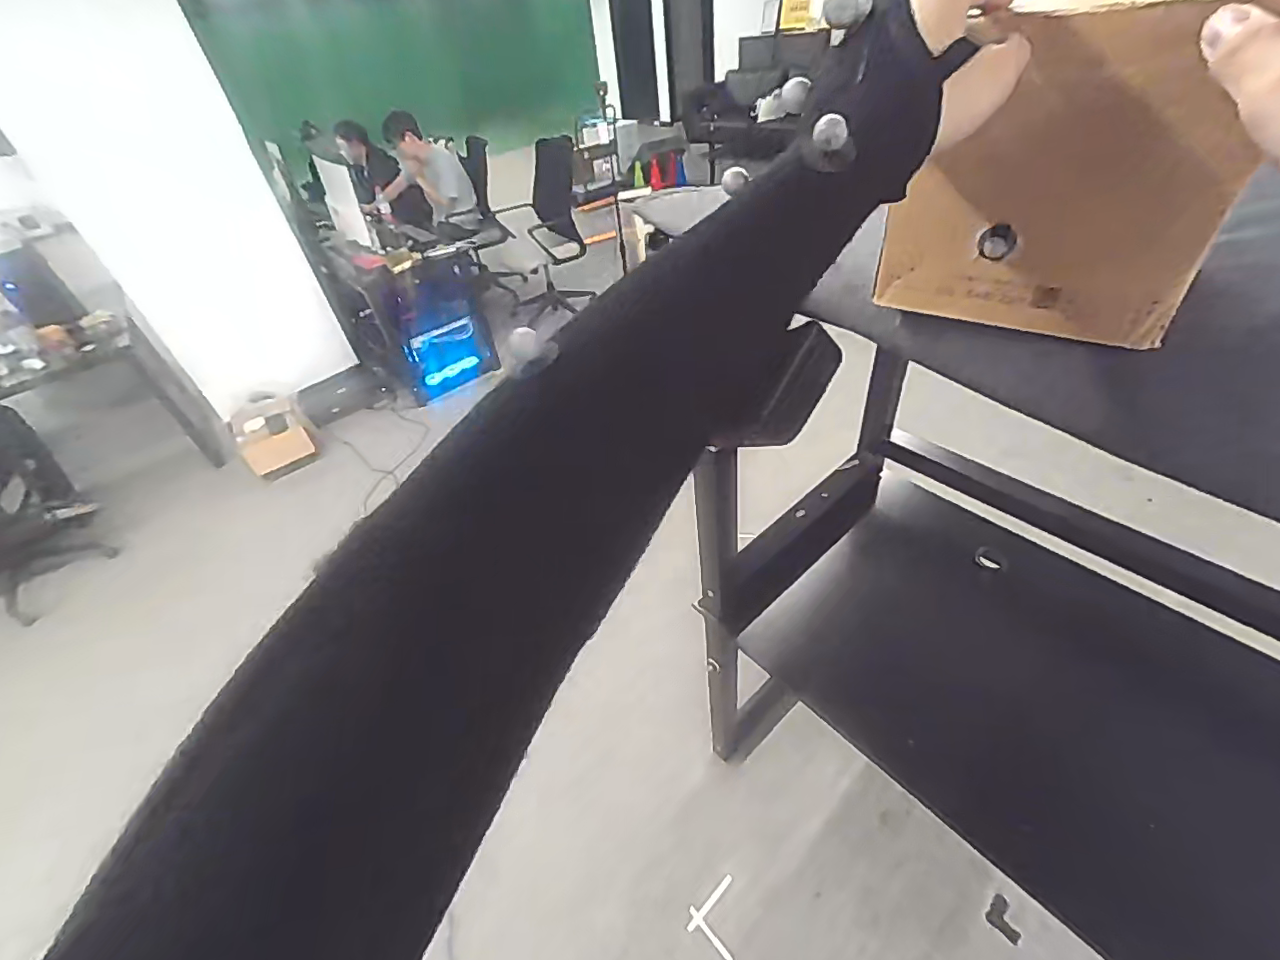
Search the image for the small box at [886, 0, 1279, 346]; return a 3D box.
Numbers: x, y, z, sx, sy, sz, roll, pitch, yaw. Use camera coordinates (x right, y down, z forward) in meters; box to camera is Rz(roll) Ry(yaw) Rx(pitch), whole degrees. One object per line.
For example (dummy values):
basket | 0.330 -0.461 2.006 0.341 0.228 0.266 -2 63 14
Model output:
small box | 0.279 -0.214 0.351 0.168 0.176 0.179 23 52 30
